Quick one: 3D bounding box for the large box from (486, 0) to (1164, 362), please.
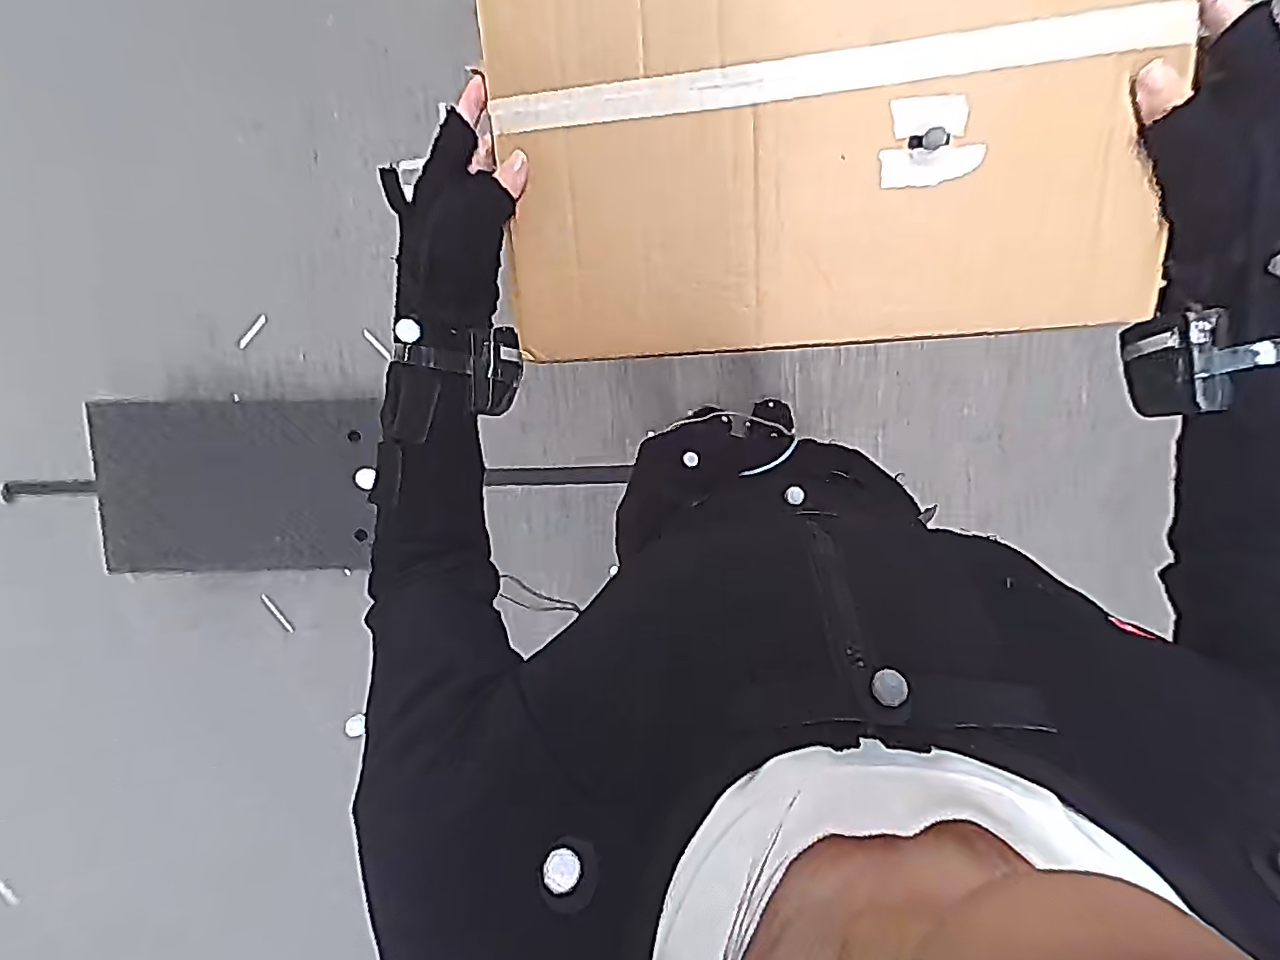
[{"bbox_3d":[0.118,-0.283,0.482,0.408,0.320,0.320,-3,104,7],"label":"large box"}]
